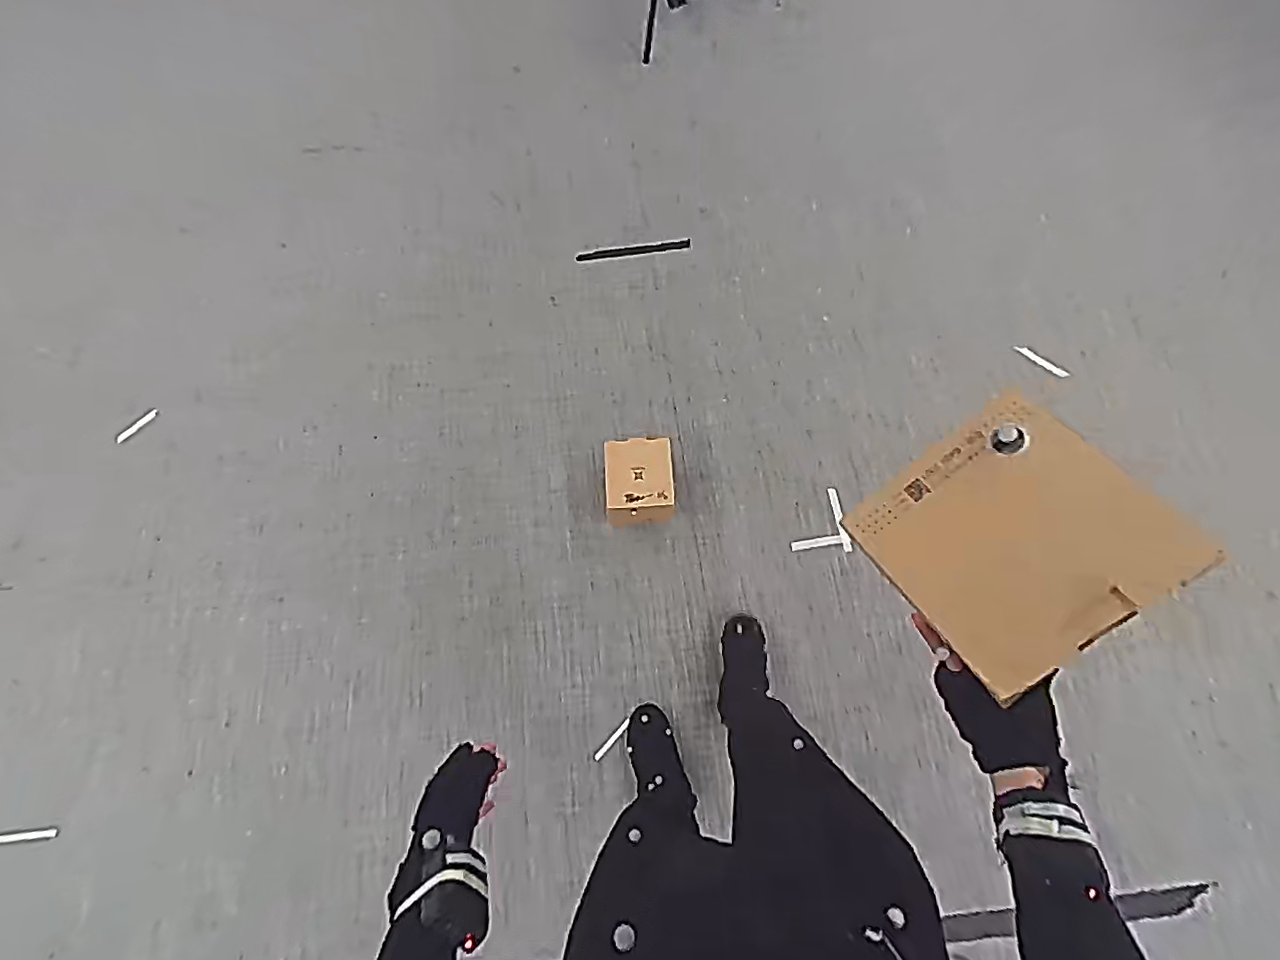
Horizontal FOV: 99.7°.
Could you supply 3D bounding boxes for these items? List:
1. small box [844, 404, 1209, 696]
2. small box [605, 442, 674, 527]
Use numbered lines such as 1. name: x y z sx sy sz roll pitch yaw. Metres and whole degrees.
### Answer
1. small box: 0.301 0.060 0.468 0.168 0.179 0.176 -42 60 12
2. small box: -0.004 0.016 1.396 0.168 0.176 0.179 -3 72 -1
